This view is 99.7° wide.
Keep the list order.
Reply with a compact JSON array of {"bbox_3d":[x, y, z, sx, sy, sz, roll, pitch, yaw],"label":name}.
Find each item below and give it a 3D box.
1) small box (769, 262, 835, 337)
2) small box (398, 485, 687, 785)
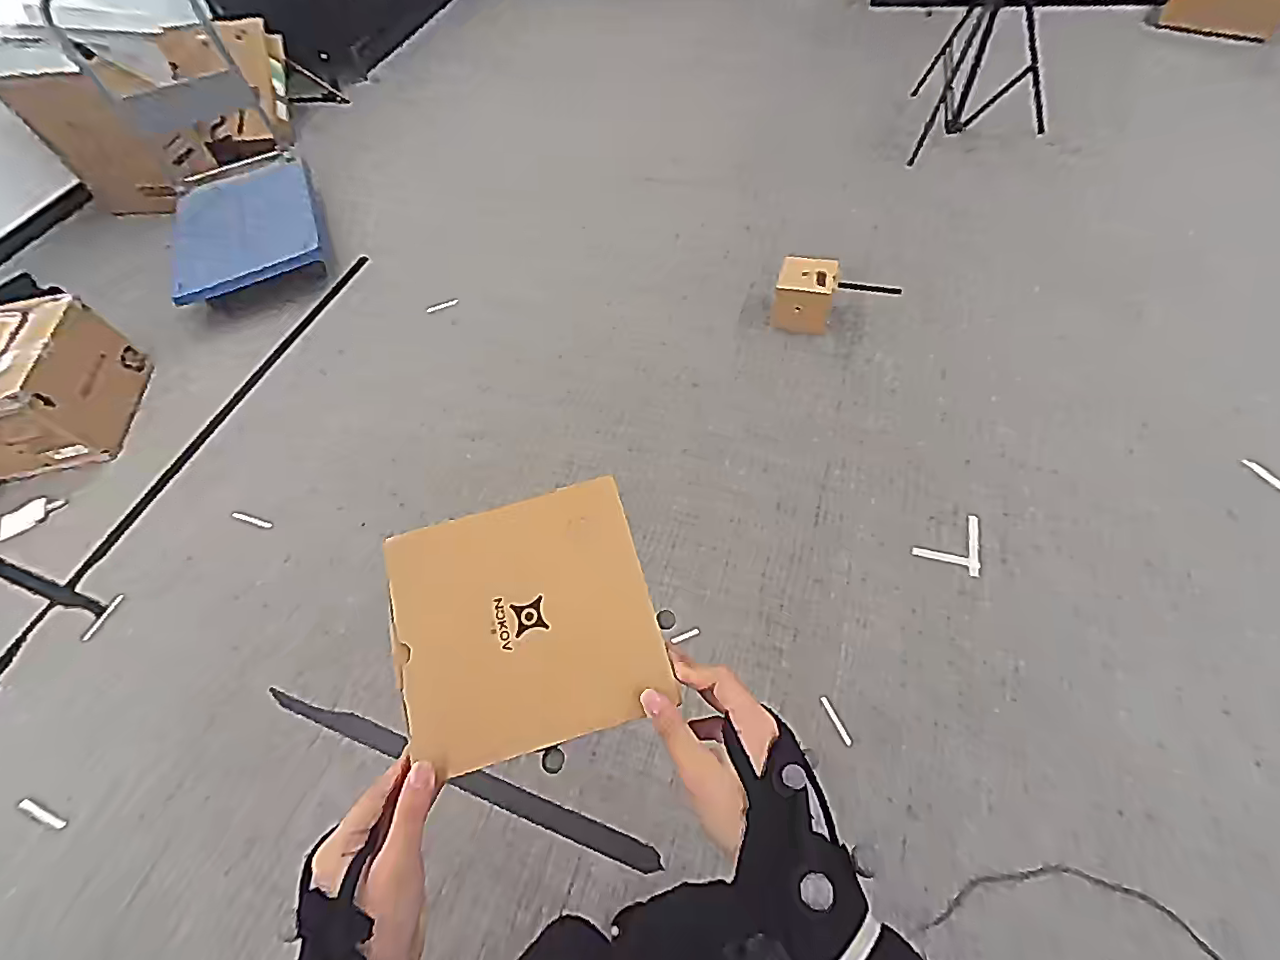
[{"bbox_3d":[0.545,-0.607,1.827,0.179,0.176,0.168,13,61,16],"label":"small box"},{"bbox_3d":[-0.070,0.125,0.448,0.179,0.176,0.168,-16,69,-3],"label":"small box"}]
